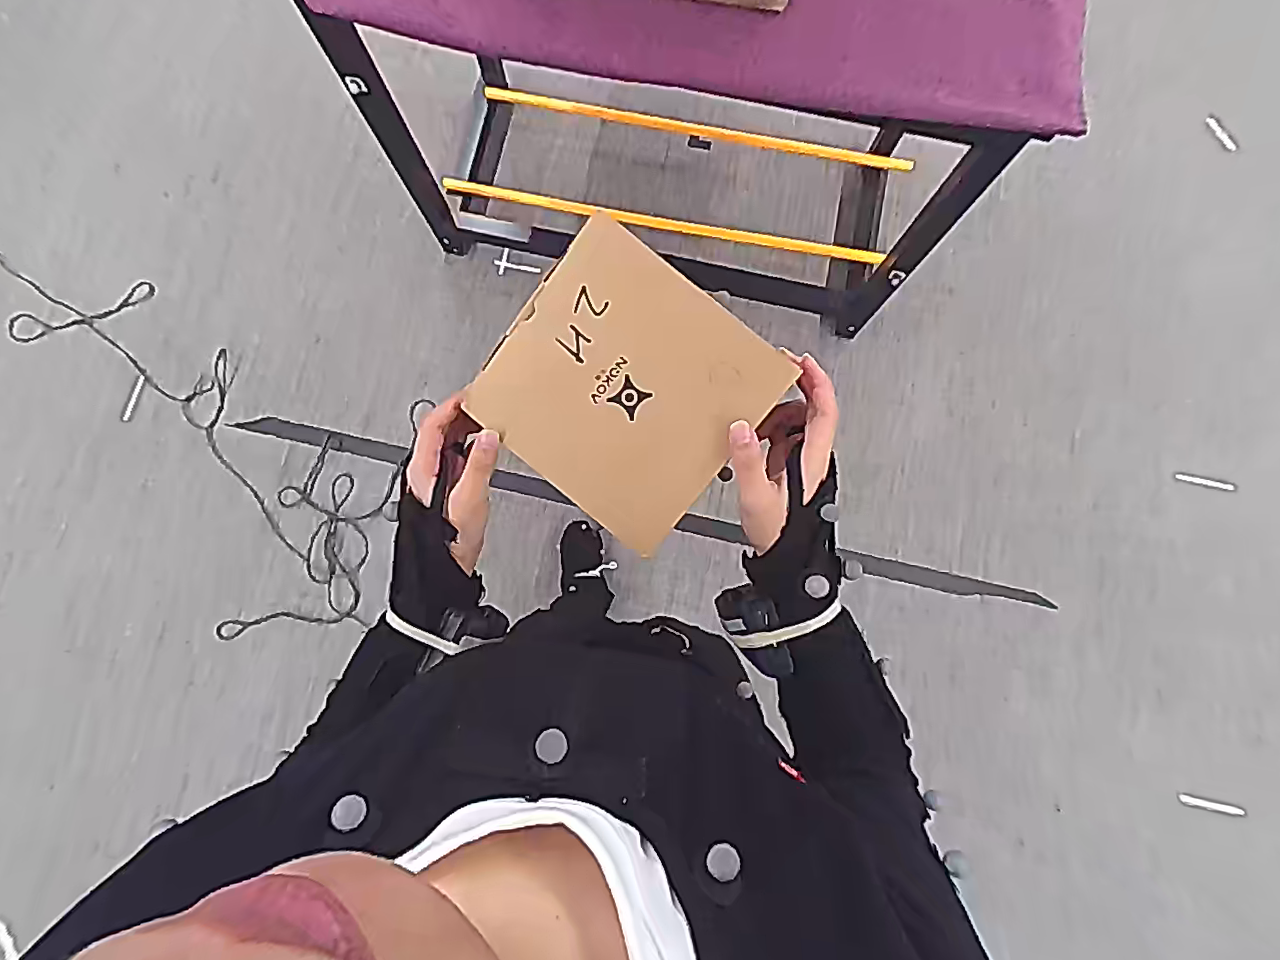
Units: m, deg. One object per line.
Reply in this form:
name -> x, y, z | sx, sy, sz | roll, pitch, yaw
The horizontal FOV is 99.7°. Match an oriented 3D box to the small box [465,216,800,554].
small box -> 0.002, -0.070, 0.445 | 0.179, 0.176, 0.168 | 39, 99, 3
